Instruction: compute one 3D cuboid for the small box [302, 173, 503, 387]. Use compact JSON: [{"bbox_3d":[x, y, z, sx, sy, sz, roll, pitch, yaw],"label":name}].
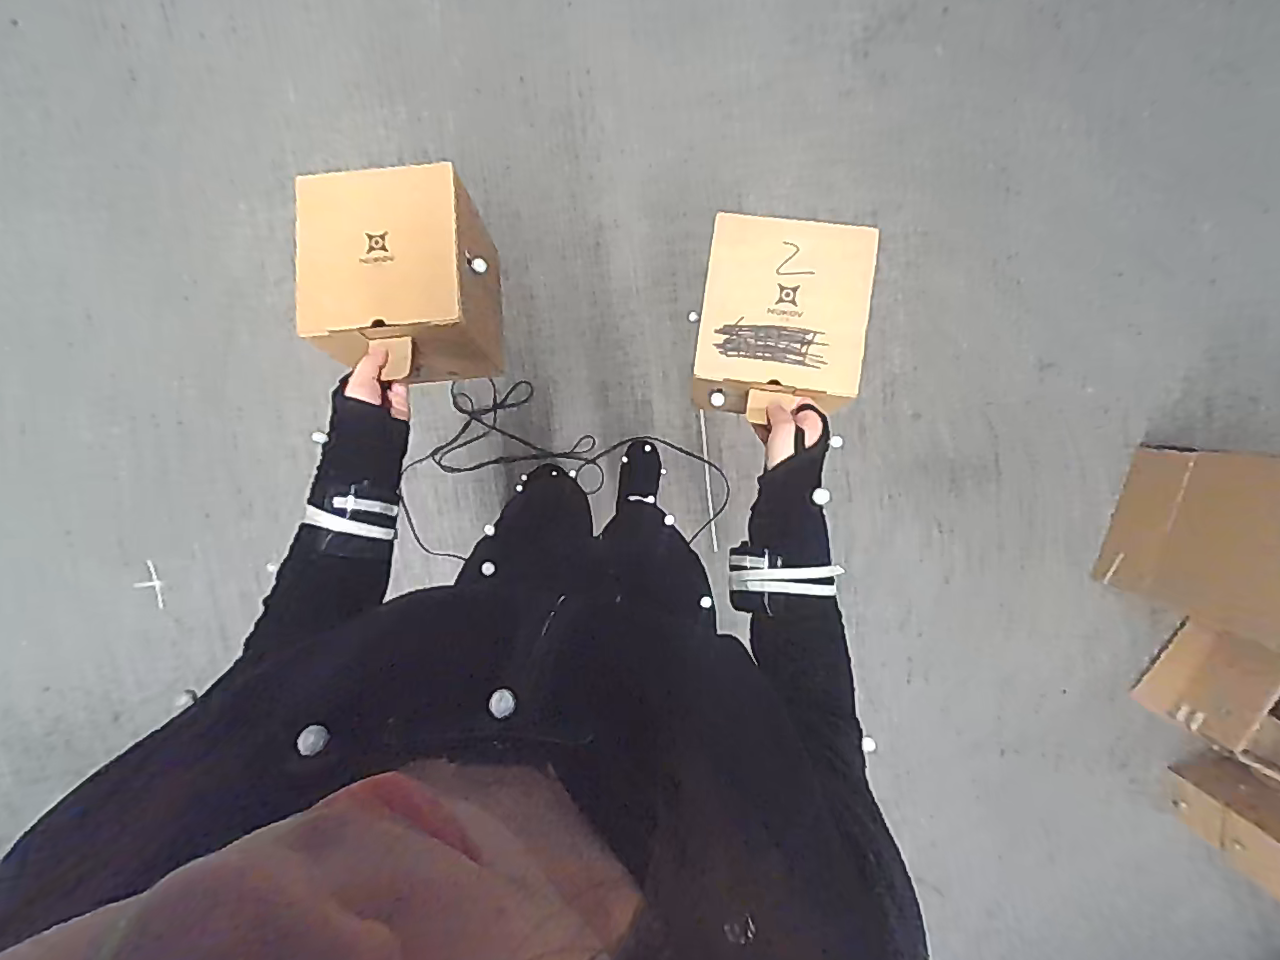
[{"bbox_3d":[-0.267,-0.224,0.641,0.168,0.176,0.179,-5,82,0],"label":"small box"}]
